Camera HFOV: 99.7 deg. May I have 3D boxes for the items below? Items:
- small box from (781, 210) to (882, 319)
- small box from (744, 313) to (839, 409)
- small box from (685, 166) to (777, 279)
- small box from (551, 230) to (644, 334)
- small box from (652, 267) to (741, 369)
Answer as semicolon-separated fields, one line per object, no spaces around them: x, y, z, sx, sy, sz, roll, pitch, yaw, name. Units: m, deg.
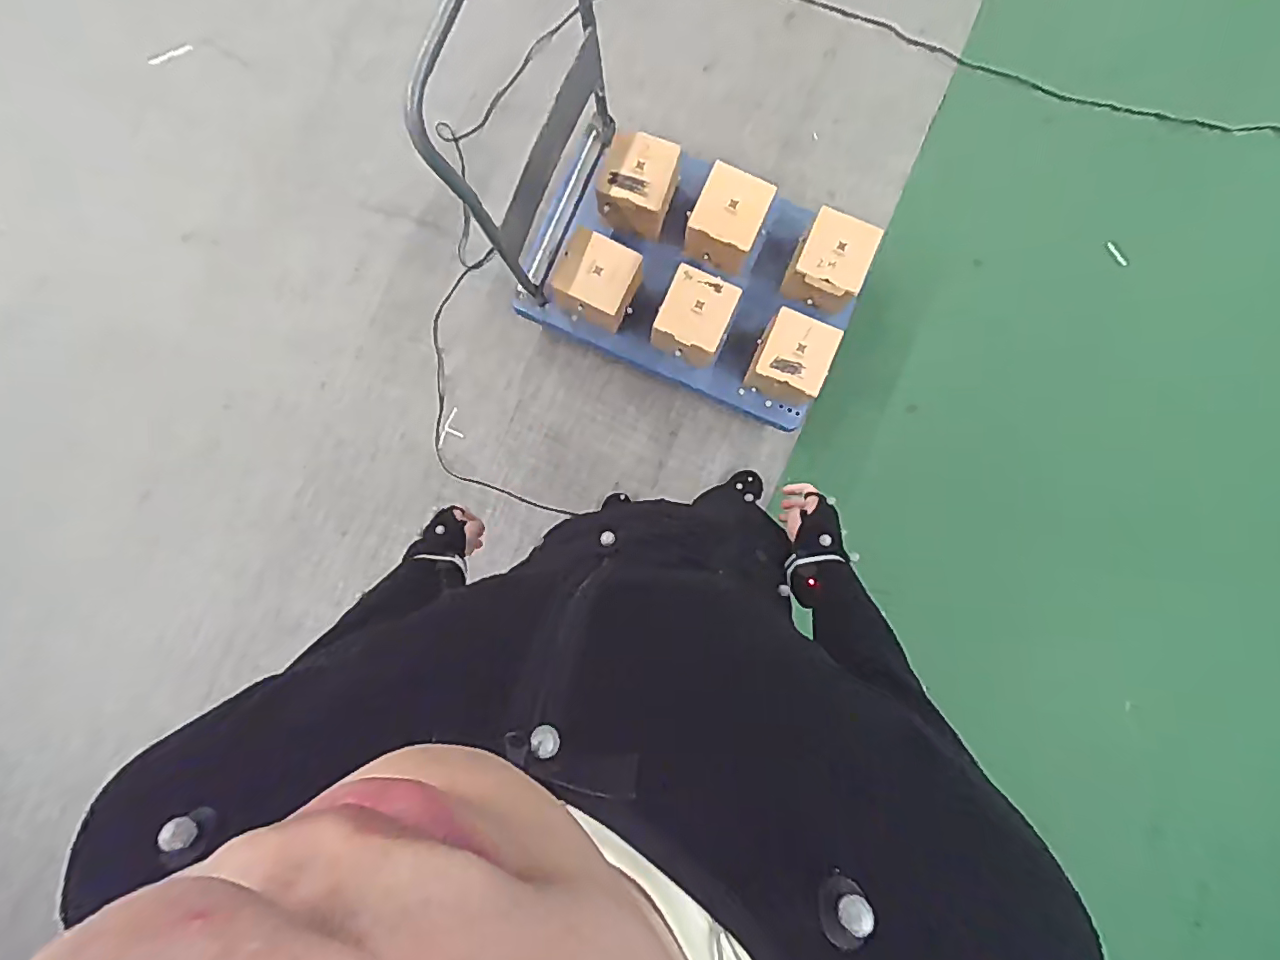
0.483;-0.547;1.395;0.168;0.176;0.179;23;89;1;small box
0.385;-0.300;1.408;0.168;0.176;0.179;23;88;-1;small box
0.225;-0.656;1.398;0.168;0.176;0.179;24;91;0;small box
-0.105;-0.497;1.391;0.179;0.176;0.168;27;89;-1;small box
0.139;-0.405;1.391;0.168;0.176;0.179;25;89;-1;small box
